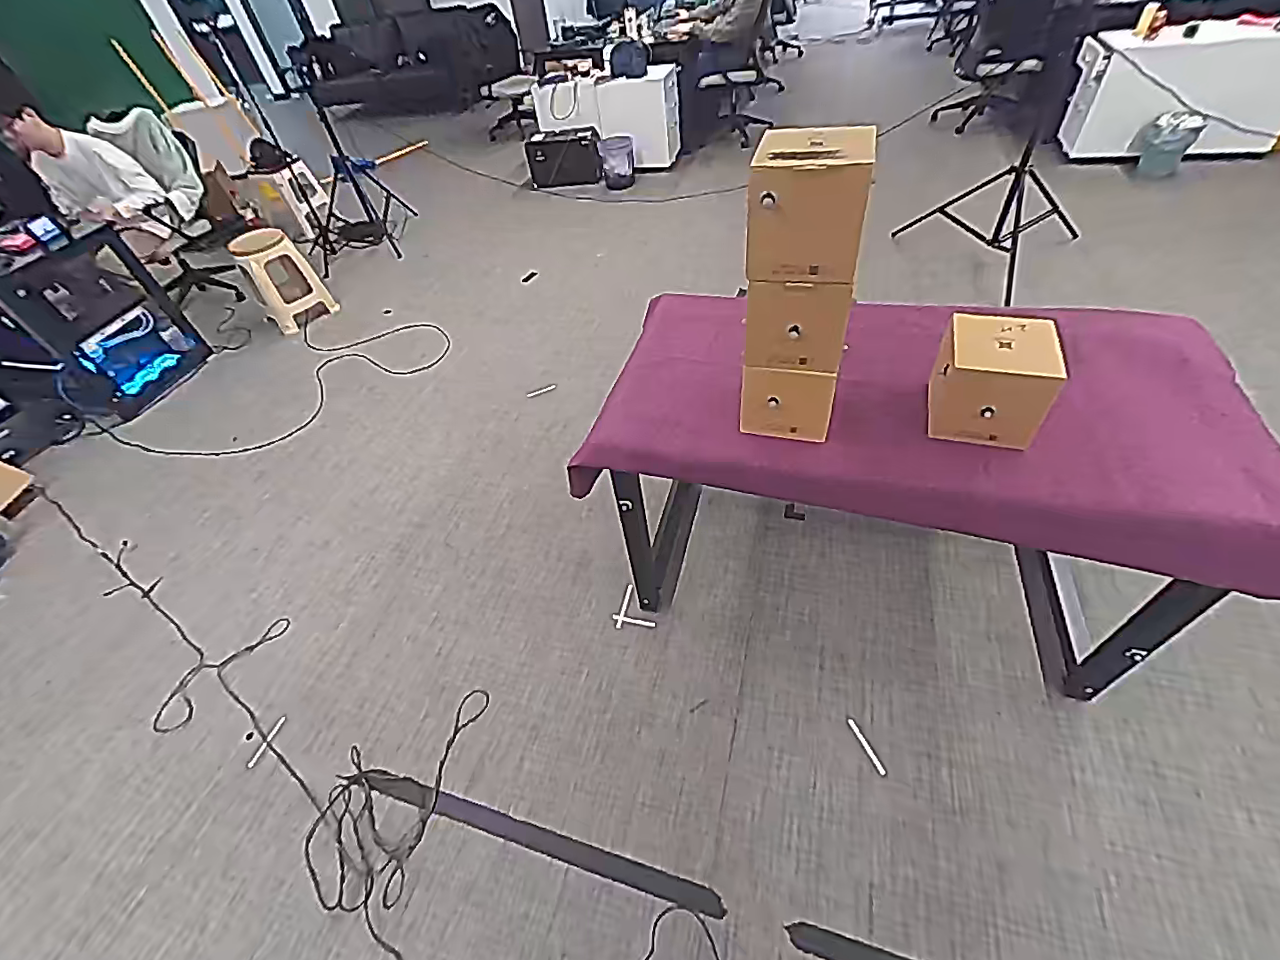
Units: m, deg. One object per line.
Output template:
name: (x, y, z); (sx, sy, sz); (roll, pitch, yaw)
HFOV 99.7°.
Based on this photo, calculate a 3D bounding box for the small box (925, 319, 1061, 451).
small box: (0.648, -0.177, 1.014); (0.168, 0.176, 0.179); (11, 50, 17)

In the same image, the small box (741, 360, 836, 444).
small box: (0.300, -0.192, 1.083); (0.168, 0.176, 0.179); (9, 49, 16)

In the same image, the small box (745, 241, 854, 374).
small box: (0.282, -0.308, 0.968); (0.168, 0.176, 0.179); (8, 49, 15)
